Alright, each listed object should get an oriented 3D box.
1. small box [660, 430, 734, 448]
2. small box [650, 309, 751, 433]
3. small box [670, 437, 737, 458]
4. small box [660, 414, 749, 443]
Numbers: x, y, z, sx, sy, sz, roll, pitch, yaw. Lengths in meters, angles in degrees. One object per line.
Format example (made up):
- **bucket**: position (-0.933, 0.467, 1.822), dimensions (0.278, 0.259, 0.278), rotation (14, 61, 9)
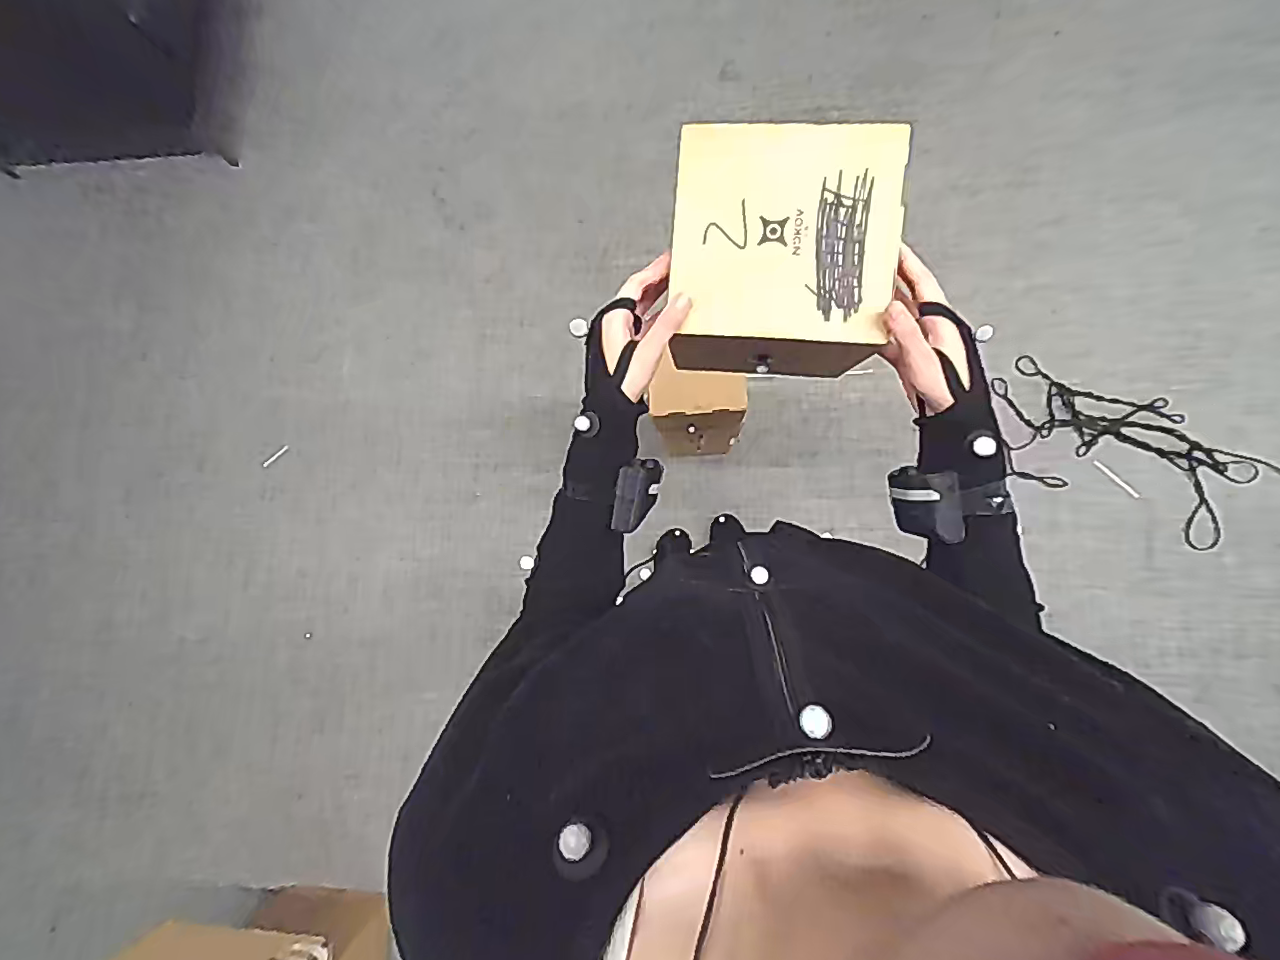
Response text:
- **small box**: position (0.142, -0.172, 1.309), dimensions (0.179, 0.176, 0.168), rotation (-1, 85, 6)
- **small box**: position (0.107, -0.189, 0.984), dimensions (0.168, 0.176, 0.179), rotation (-3, 85, 6)
- **small box**: position (0.169, -0.153, 1.470), dimensions (0.179, 0.176, 0.168), rotation (-1, 84, 5)
- **small box**: position (0.130, -0.175, 1.145), dimensions (0.179, 0.176, 0.168), rotation (-3, 84, 5)
